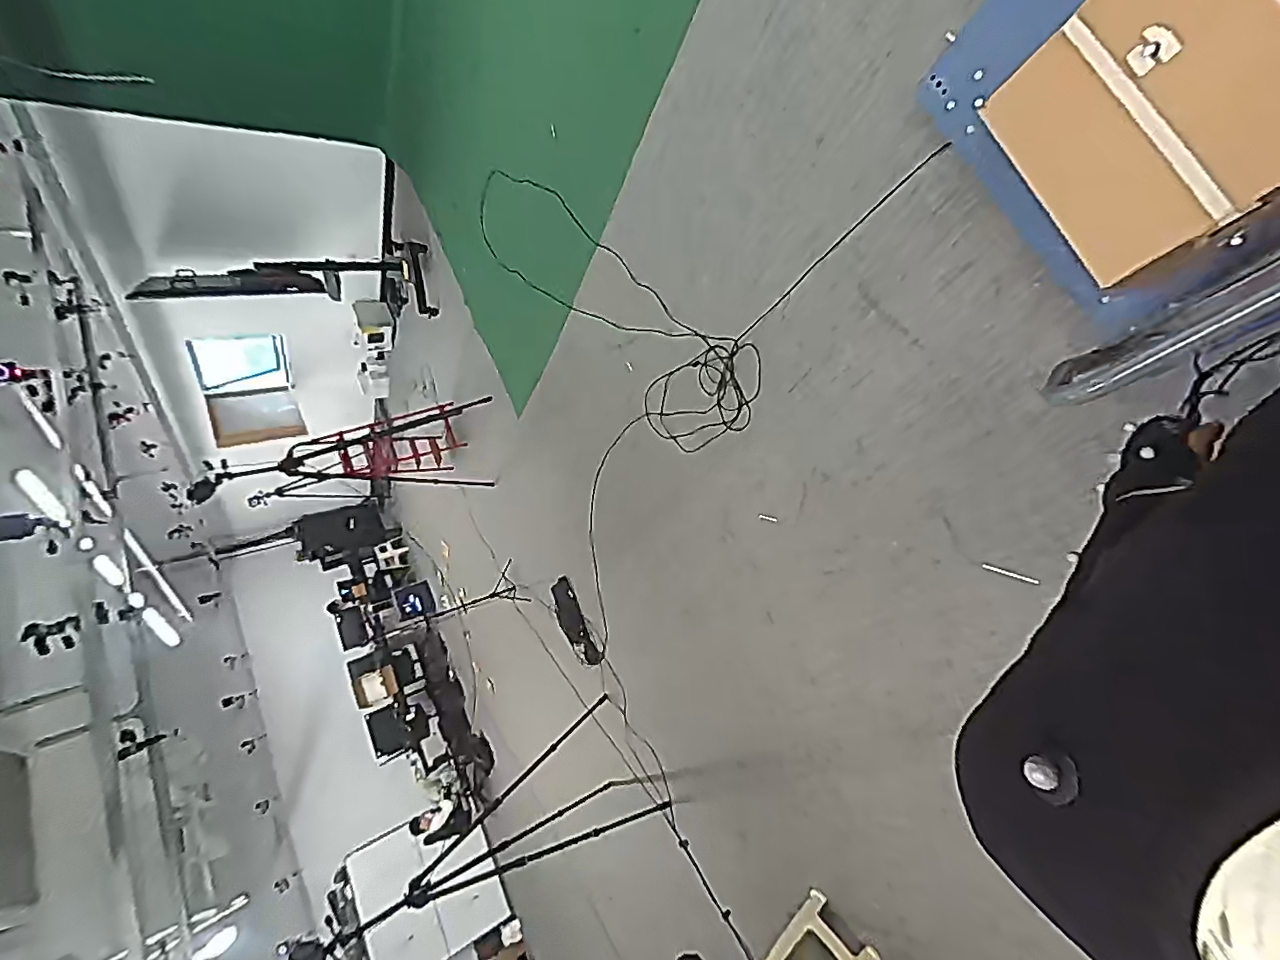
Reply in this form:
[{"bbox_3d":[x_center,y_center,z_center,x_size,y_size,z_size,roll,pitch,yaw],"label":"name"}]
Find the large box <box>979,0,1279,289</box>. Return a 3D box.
[{"bbox_3d":[0.881,-0.580,0.901,0.320,0.320,0.408,-40,69,52],"label":"large box"}]
